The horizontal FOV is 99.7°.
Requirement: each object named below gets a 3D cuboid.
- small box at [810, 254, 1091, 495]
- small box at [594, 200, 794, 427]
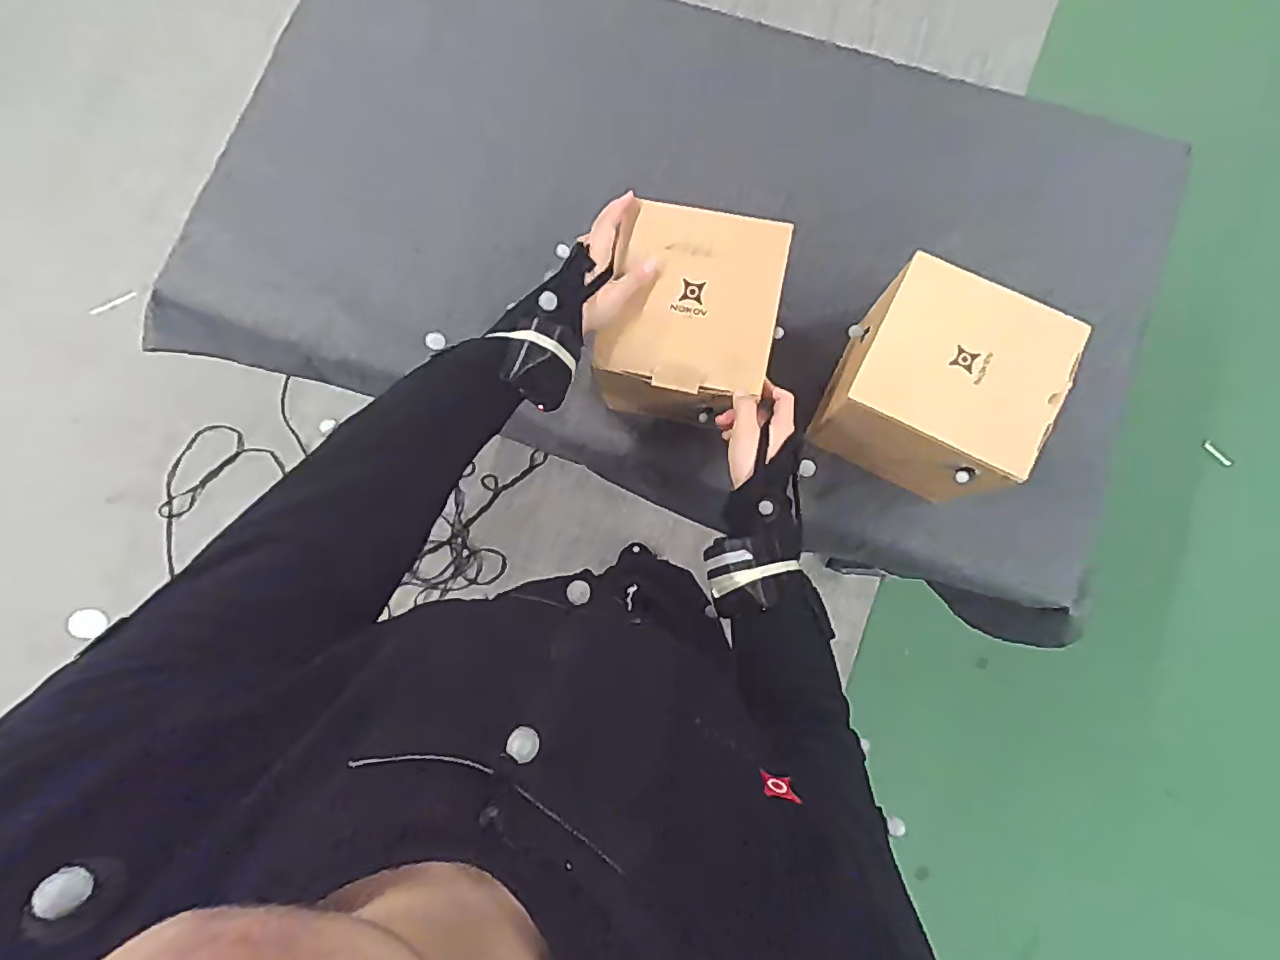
[{"bbox_3d":[0.308,-0.096,0.577,0.179,0.176,0.168,27,83,6],"label":"small box"},{"bbox_3d":[0.055,-0.165,0.591,0.168,0.176,0.179,11,85,2],"label":"small box"}]
